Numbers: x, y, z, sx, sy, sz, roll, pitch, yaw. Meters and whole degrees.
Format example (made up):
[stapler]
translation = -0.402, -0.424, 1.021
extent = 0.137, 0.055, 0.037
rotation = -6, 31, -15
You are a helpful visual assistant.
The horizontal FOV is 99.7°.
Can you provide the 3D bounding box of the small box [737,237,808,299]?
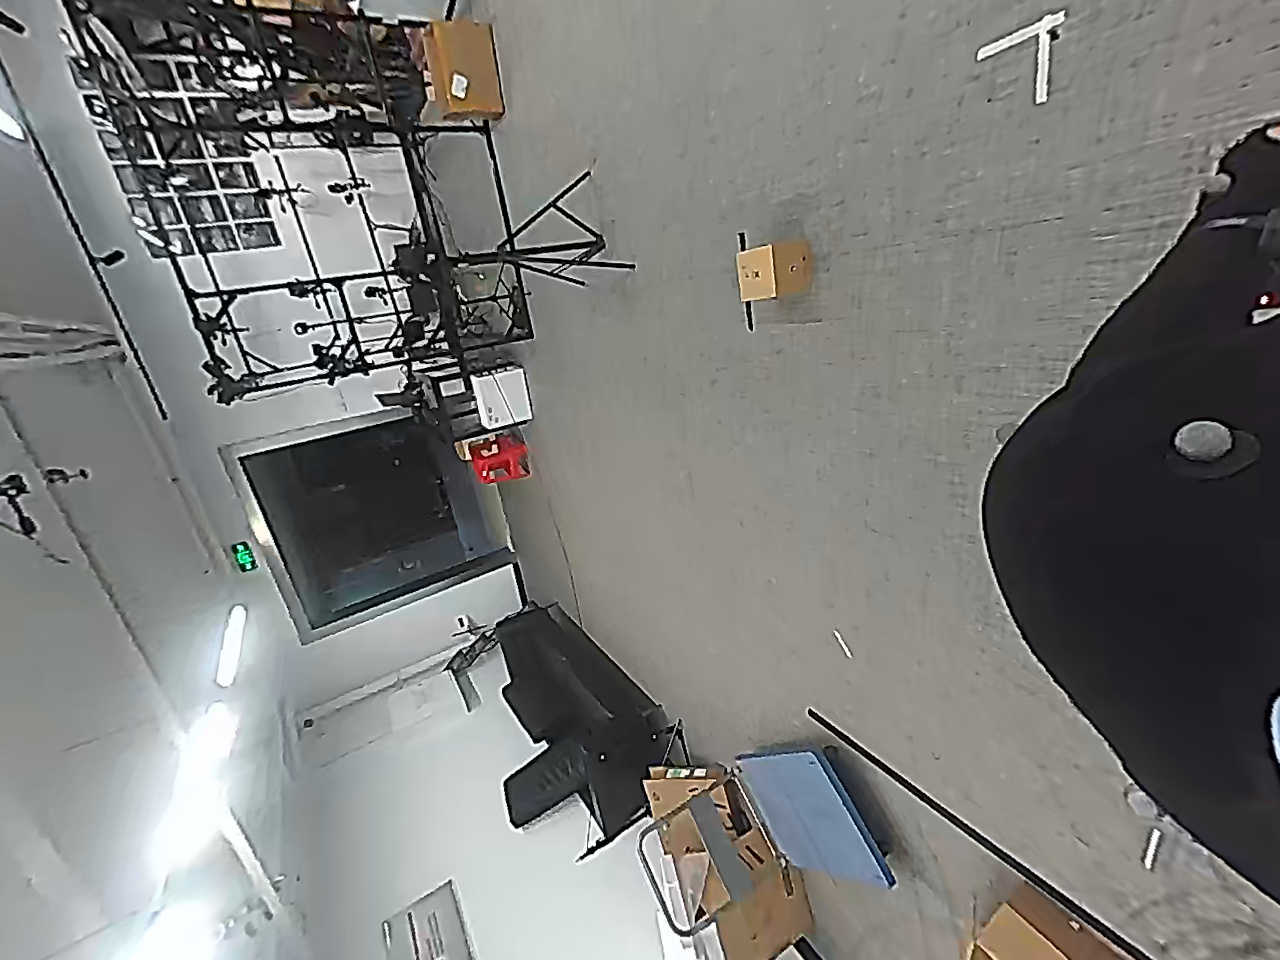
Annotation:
[small box]
translation = 0.462, -0.726, 1.855
extent = 0.179, 0.176, 0.168
rotation = 21, 125, 57
